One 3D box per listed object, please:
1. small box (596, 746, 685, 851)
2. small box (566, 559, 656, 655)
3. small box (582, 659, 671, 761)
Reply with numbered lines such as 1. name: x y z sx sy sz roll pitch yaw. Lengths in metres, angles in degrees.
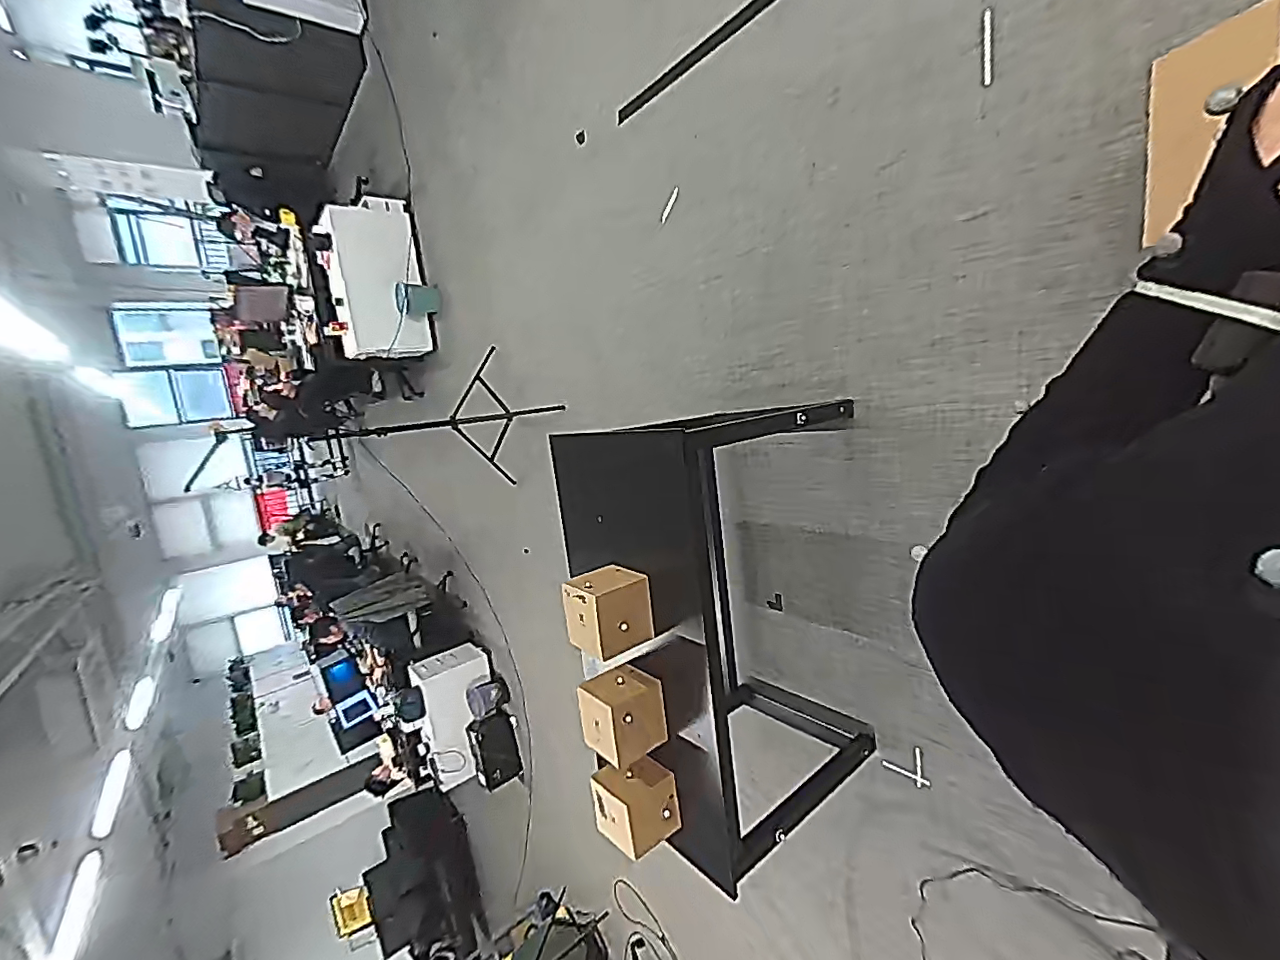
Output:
1. small box: 0.001 0.877 1.516 0.179 0.176 0.168 1 102 52
2. small box: -0.073 0.328 1.432 0.168 0.176 0.179 7 107 52
3. small box: -0.035 0.615 1.475 0.168 0.176 0.179 4 104 53
